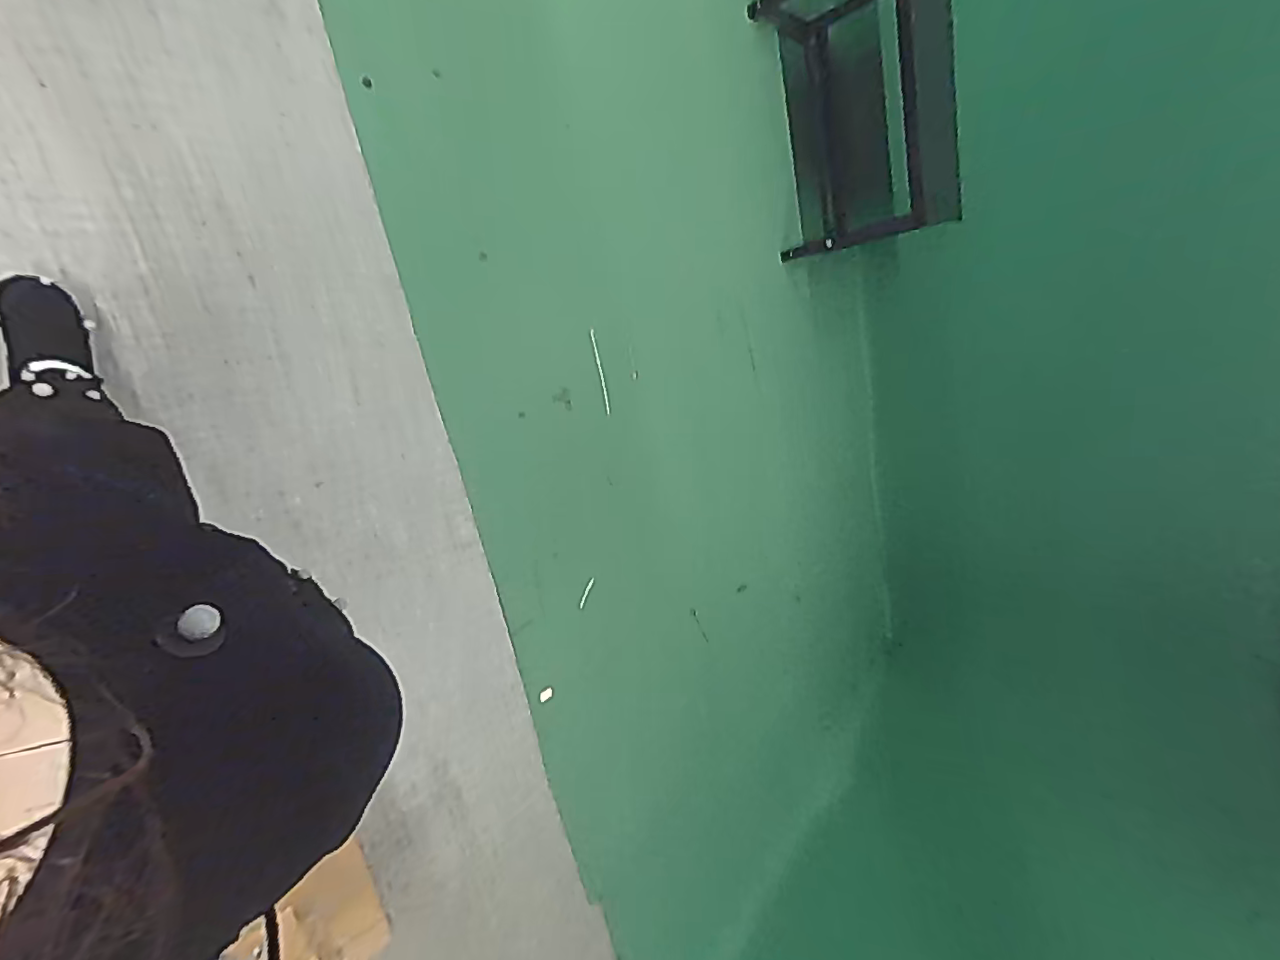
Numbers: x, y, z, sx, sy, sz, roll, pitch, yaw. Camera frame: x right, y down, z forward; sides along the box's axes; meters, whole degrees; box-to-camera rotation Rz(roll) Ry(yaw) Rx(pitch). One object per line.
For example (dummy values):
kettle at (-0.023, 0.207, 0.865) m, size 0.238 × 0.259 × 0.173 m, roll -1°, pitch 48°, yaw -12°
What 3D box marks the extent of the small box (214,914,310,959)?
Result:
small box at (-0.670, 0.939, 0.959) m, size 0.168 × 0.176 × 0.179 m, roll -24°, pitch 107°, yaw -43°
